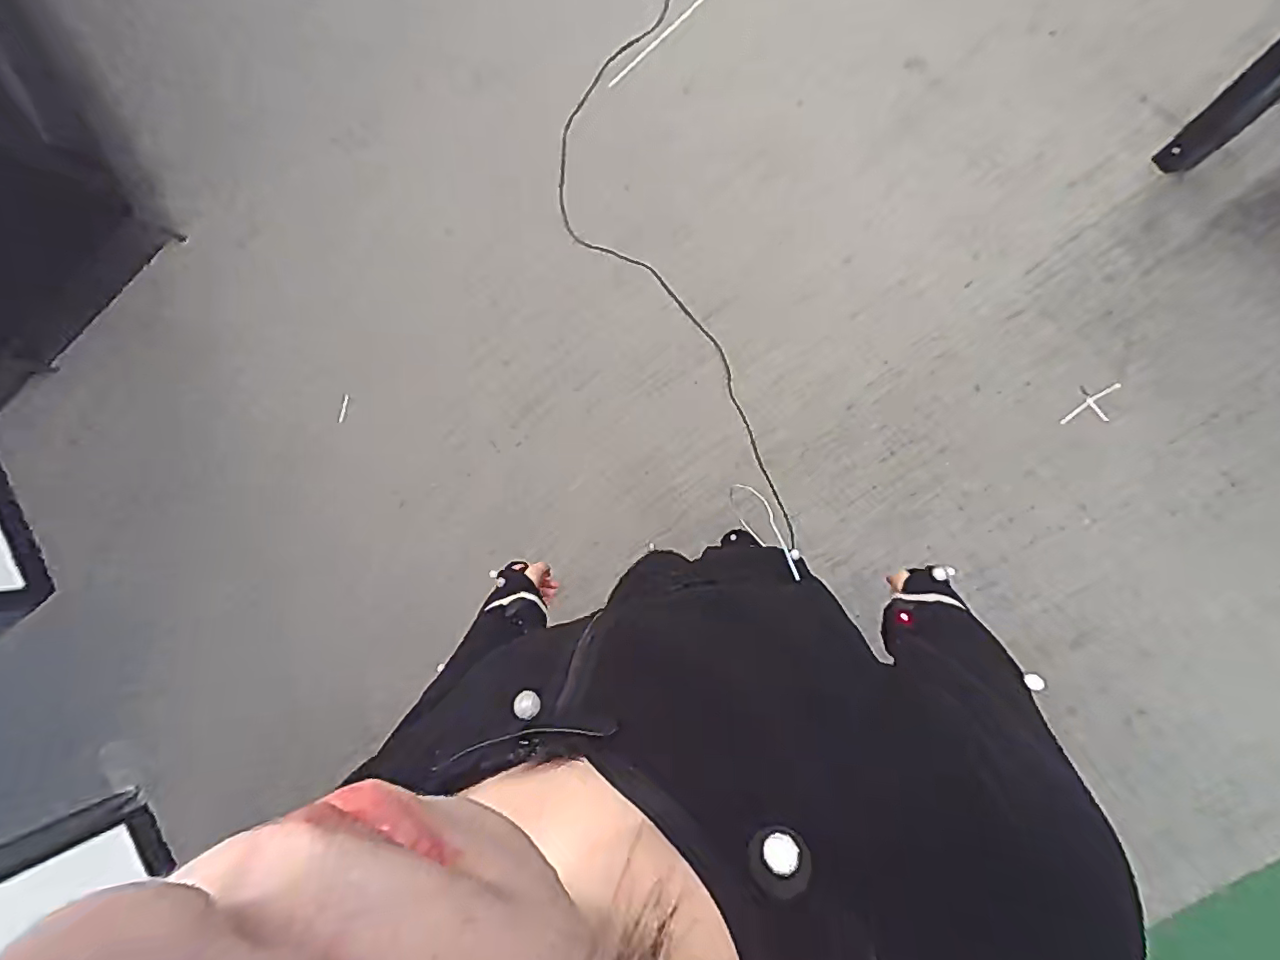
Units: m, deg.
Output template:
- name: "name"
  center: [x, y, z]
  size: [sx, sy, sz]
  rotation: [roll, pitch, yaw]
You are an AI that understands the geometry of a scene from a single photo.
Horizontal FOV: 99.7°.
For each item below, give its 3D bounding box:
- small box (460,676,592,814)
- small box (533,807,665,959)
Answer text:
- name: "small box"
  center: [-0.228, 0.538, 1.118]
  size: [0.179, 0.176, 0.168]
  rotation: [-34, 81, 11]
- name: "small box"
  center: [-0.074, 0.788, 1.064]
  size: [0.179, 0.176, 0.168]
  rotation: [-28, 82, 14]
